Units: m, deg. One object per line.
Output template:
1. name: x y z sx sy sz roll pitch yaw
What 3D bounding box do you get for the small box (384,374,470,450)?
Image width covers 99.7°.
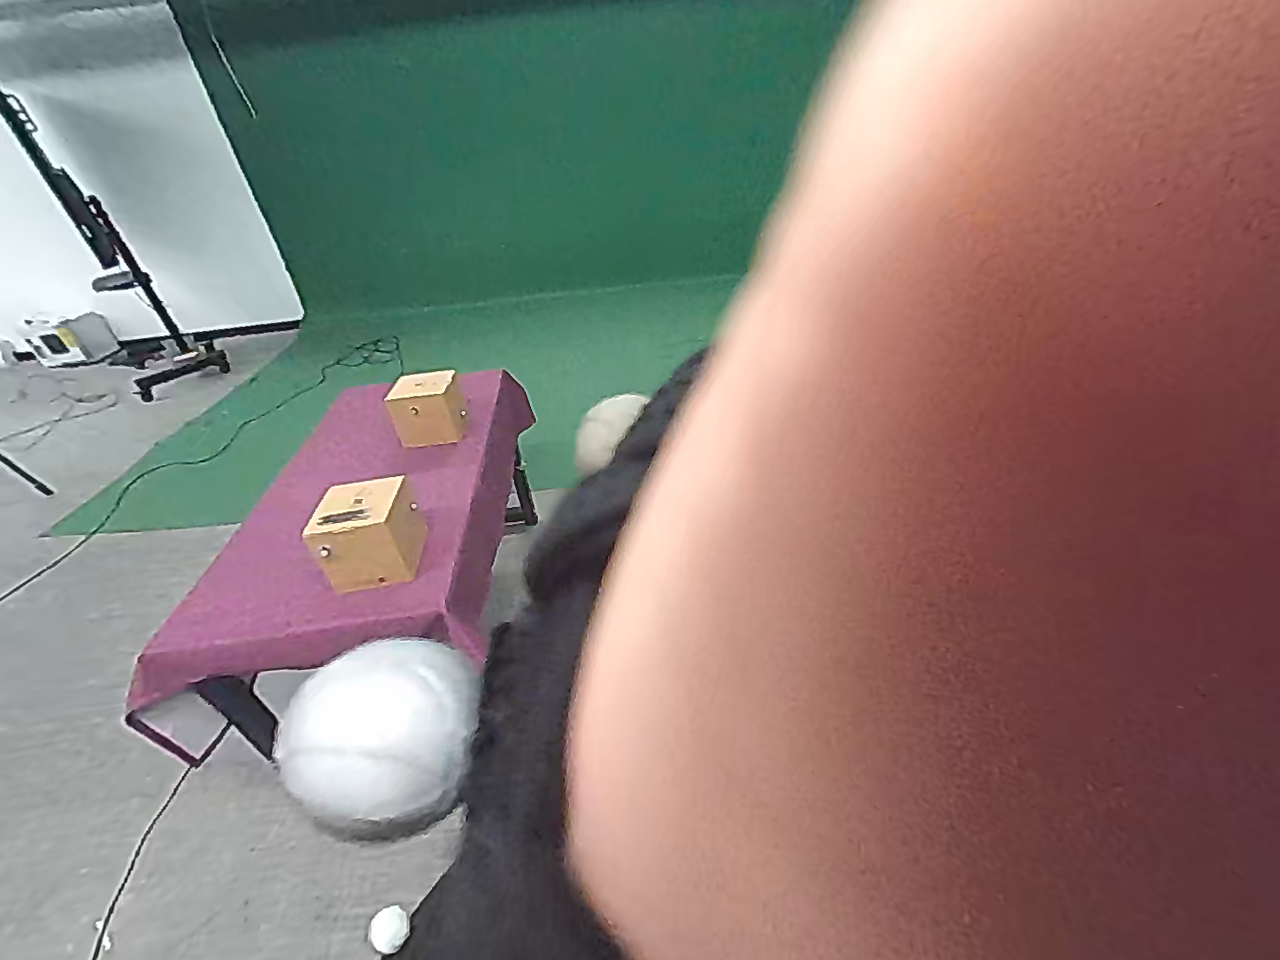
1. small box: -0.644 -0.205 1.659 0.179 0.176 0.168 -6 36 1
